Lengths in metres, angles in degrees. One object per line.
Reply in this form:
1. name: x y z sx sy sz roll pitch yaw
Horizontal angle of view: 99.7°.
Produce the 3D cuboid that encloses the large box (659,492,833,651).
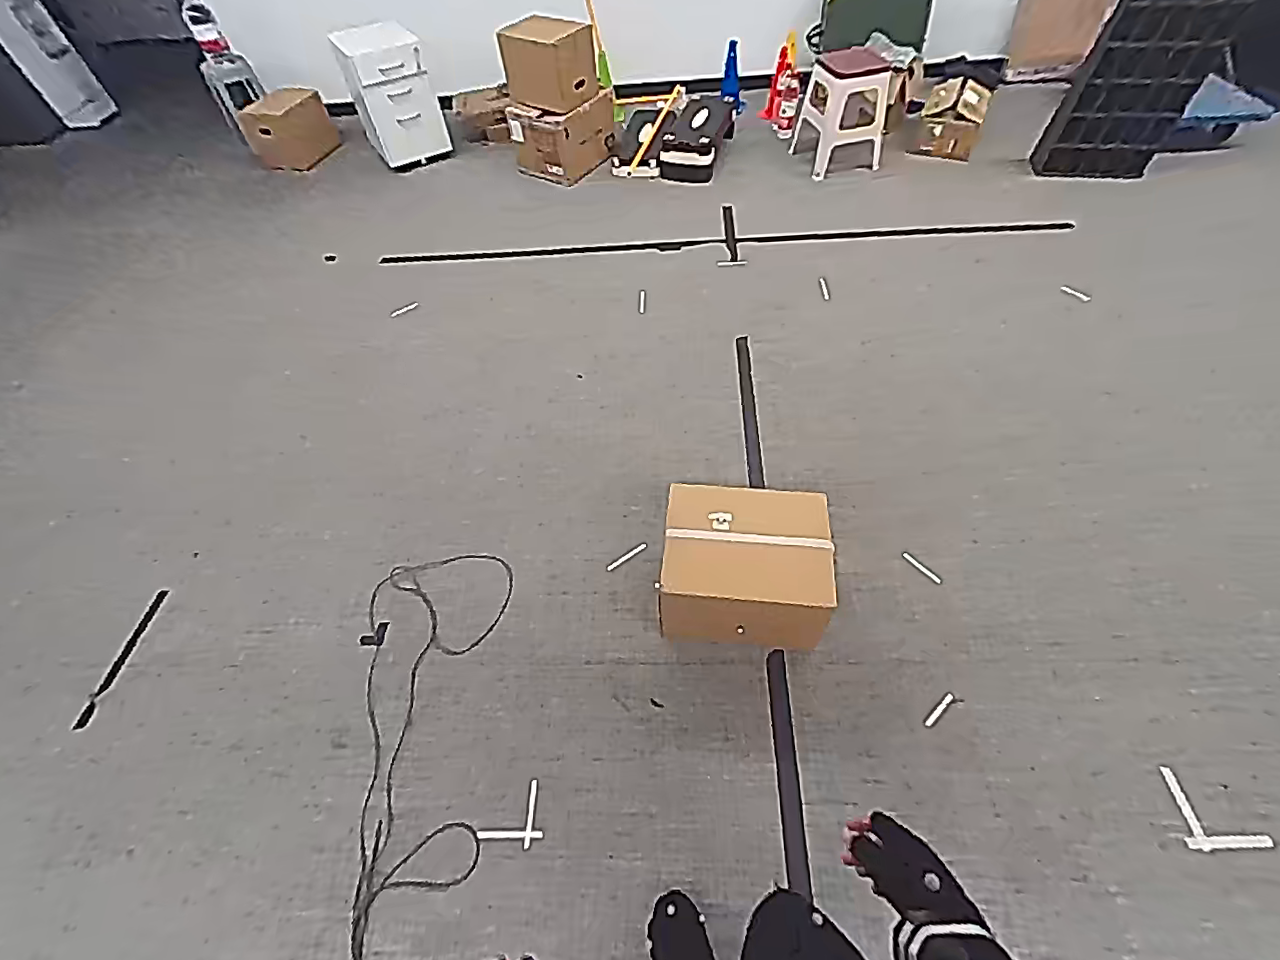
1. large box: 0.268 0.249 1.448 0.408 0.320 0.320 3 54 7
